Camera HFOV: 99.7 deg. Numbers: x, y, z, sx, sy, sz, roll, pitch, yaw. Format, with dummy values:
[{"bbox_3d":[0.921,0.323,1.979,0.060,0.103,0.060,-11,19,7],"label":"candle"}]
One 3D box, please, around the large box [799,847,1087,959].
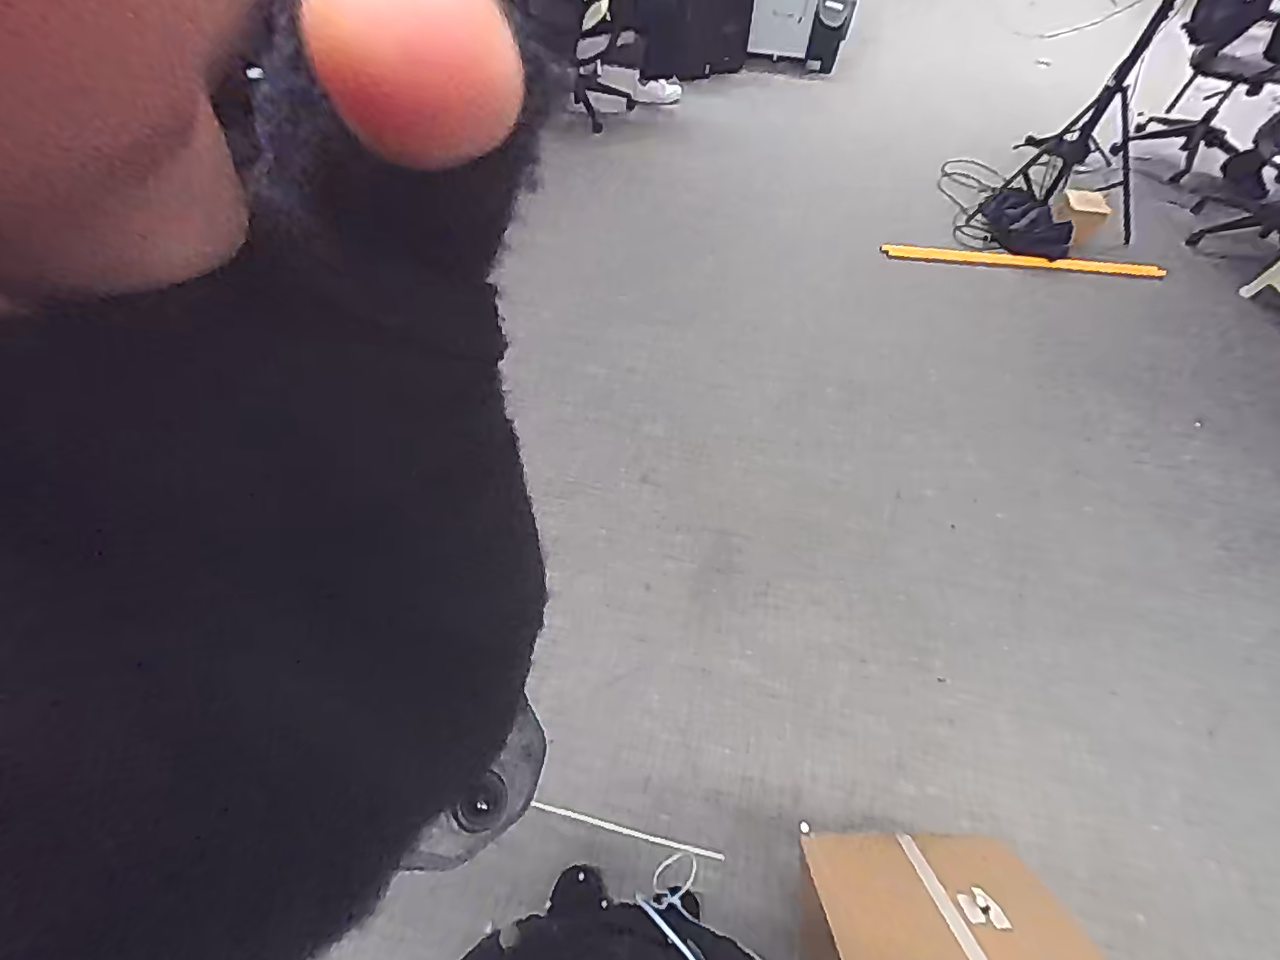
[{"bbox_3d":[0.397,0.739,0.650,0.320,0.408,0.320,0,94,2],"label":"large box"}]
